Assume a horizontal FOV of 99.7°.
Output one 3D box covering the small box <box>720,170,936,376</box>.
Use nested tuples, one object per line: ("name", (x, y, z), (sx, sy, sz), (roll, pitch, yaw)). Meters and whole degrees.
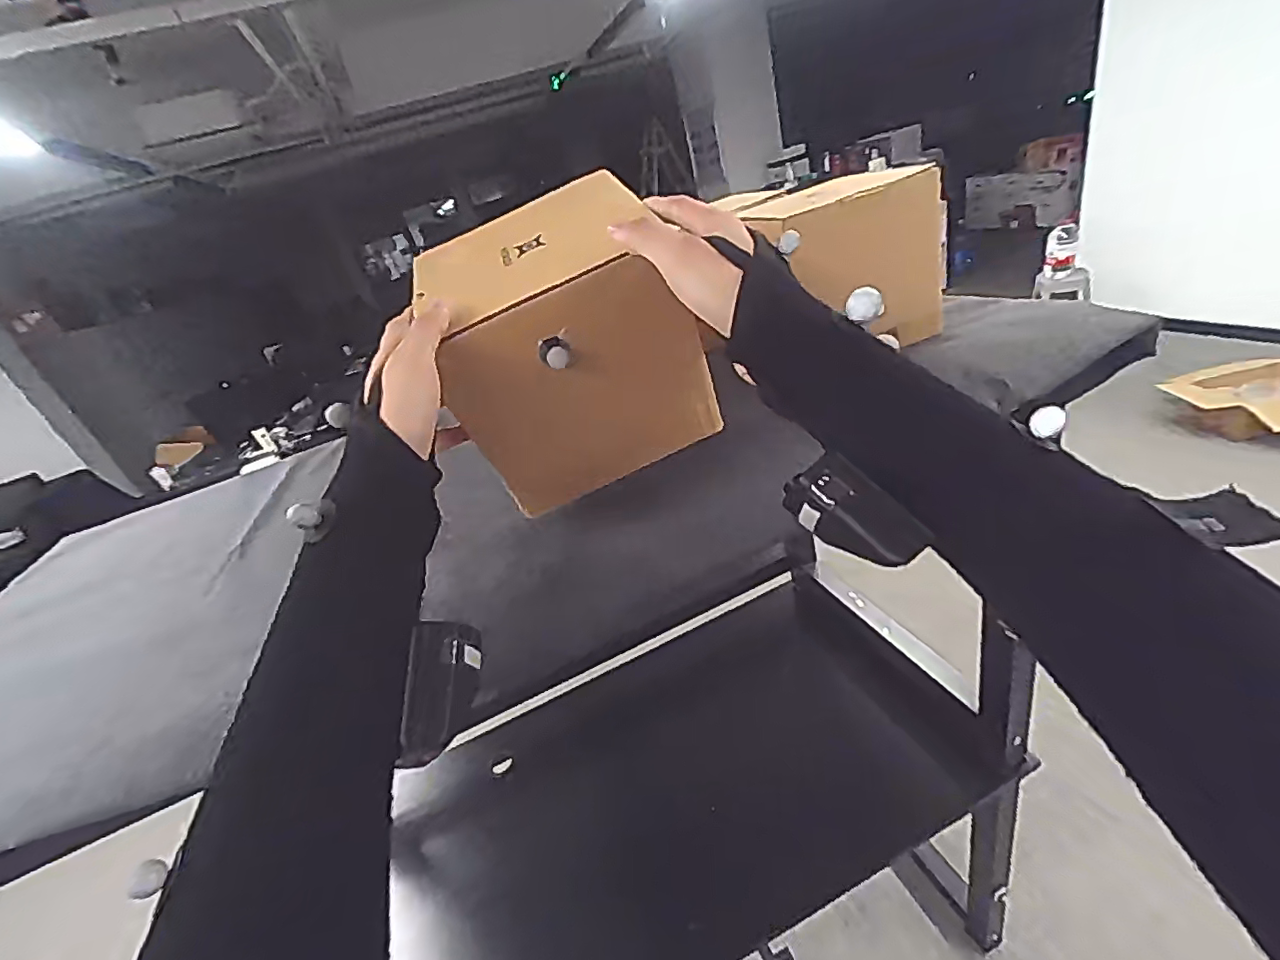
("small box", (0.210, -0.235, 0.624), (0.168, 0.176, 0.179), (-21, 29, -4))

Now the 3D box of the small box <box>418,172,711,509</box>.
("small box", (-0.054, -0.109, 0.438), (0.179, 0.176, 0.168), (-25, 44, 1))
